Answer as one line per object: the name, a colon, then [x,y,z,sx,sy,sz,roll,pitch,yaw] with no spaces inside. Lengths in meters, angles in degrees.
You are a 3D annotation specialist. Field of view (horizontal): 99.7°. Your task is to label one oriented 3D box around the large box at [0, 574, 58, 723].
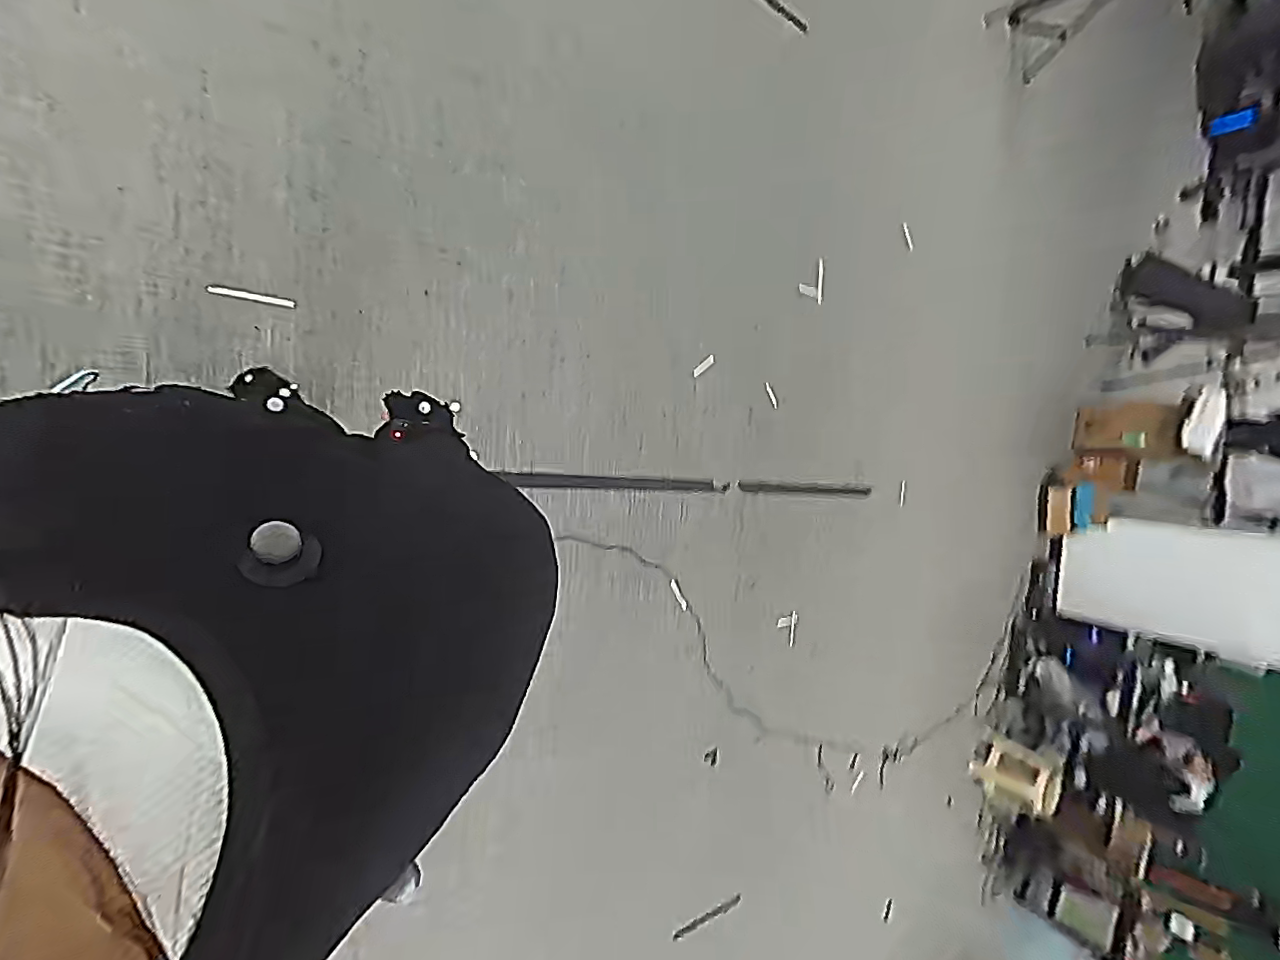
large box: [-0.939,0.122,0.548,0.320,0.408,0.320,-34,155,-38]
